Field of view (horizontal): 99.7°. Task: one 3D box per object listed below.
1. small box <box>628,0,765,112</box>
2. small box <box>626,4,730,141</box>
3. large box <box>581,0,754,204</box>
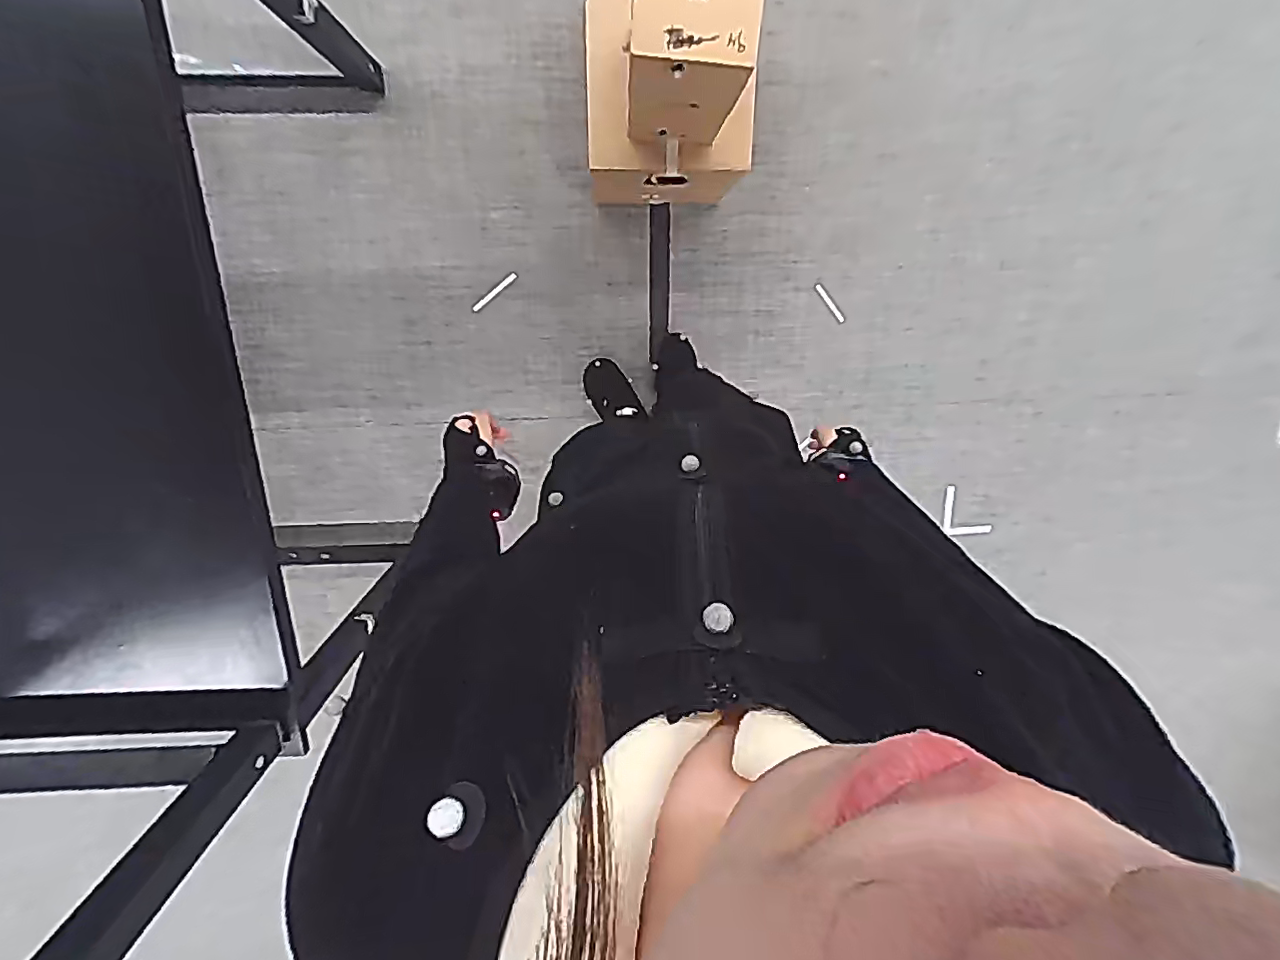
[{"bbox_3d":[0.073,-0.643,0.739,0.168,0.176,0.179,4,105,-3],"label":"small box"},{"bbox_3d":[0.064,-0.693,0.895,0.168,0.176,0.179,3,107,-3],"label":"small box"},{"bbox_3d":[0.046,-0.821,1.111,0.320,0.320,0.408,-2,106,-4],"label":"large box"}]
